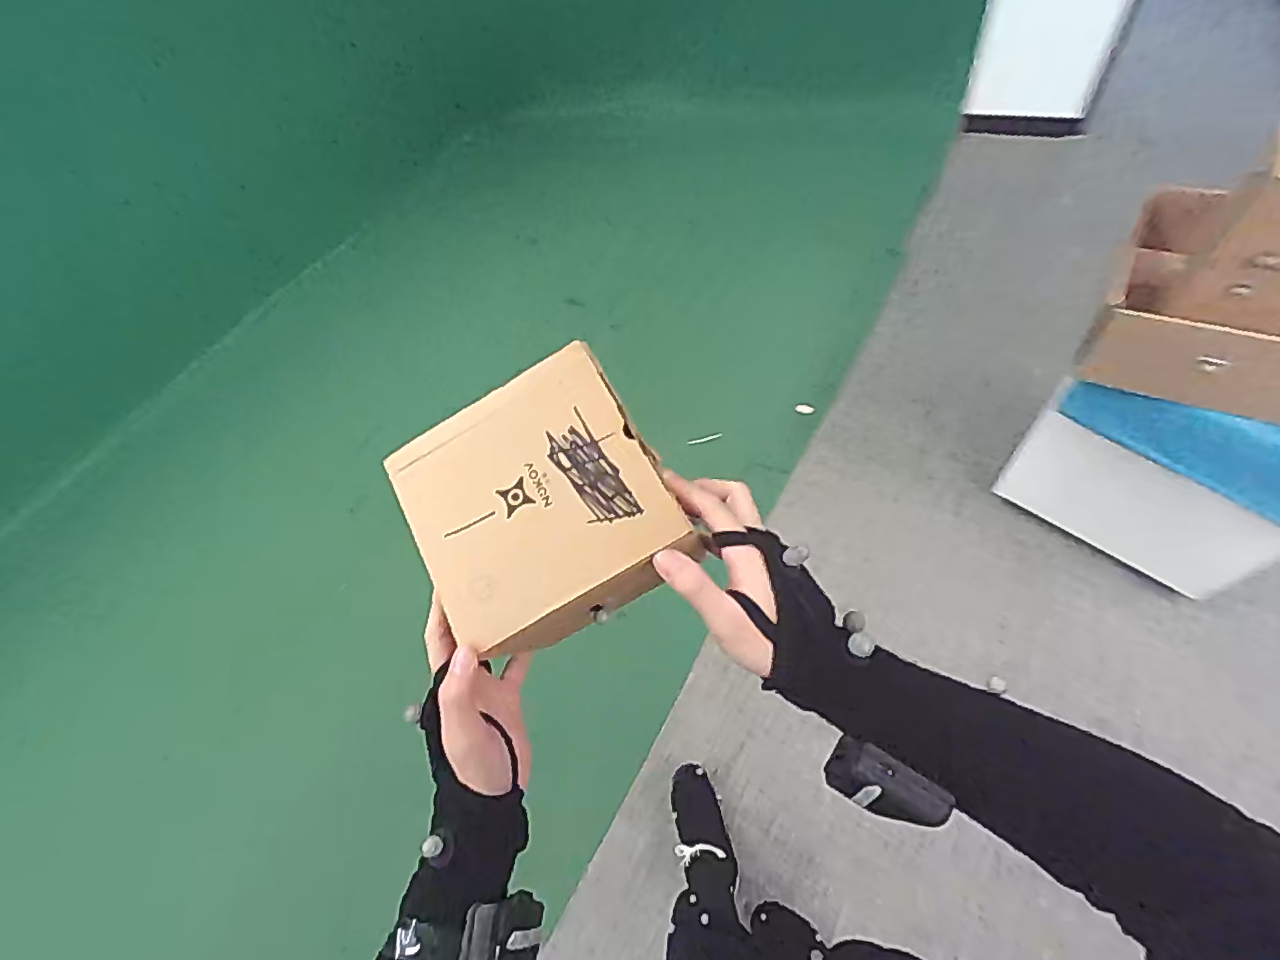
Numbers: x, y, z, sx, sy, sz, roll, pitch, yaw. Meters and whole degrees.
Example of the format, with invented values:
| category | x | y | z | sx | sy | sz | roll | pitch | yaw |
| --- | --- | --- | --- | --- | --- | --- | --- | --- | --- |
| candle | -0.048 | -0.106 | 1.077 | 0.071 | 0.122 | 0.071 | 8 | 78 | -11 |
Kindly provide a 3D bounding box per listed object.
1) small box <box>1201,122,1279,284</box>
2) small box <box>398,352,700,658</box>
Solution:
| category | x | y | z | sx | sy | sz | roll | pitch | yaw |
| --- | --- | --- | --- | --- | --- | --- | --- | --- | --- |
| small box | 1.062 | -0.440 | 0.867 | 0.168 | 0.176 | 0.179 | 23 | 65 | 26 |
| small box | -0.059 | 0.030 | 0.457 | 0.179 | 0.176 | 0.168 | -29 | 71 | 3 |
